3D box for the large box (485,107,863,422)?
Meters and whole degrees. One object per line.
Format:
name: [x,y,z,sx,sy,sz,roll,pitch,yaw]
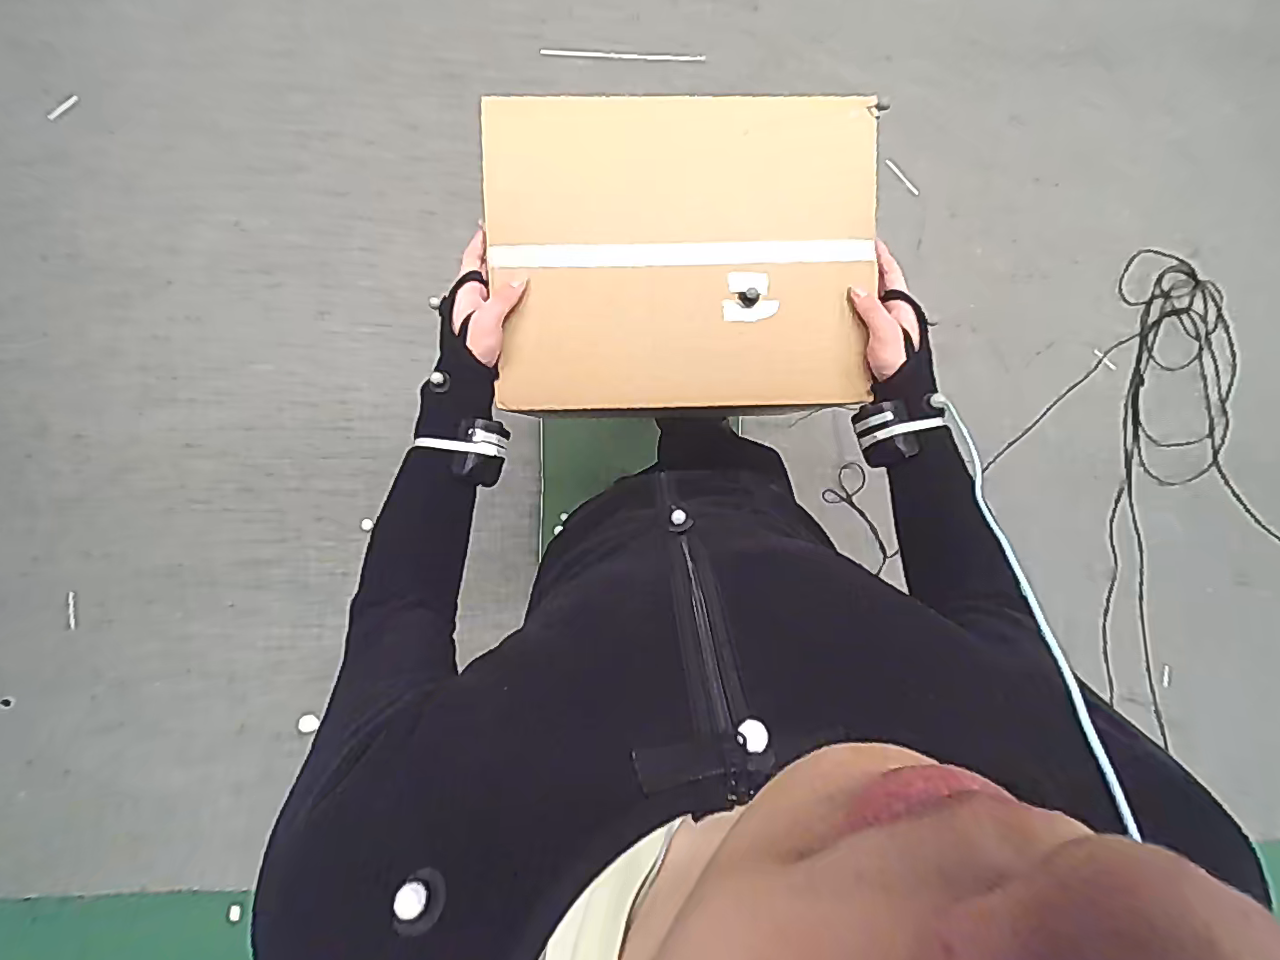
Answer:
large box: [0.034,-0.246,0.726,0.408,0.320,0.320,-2,95,-3]
